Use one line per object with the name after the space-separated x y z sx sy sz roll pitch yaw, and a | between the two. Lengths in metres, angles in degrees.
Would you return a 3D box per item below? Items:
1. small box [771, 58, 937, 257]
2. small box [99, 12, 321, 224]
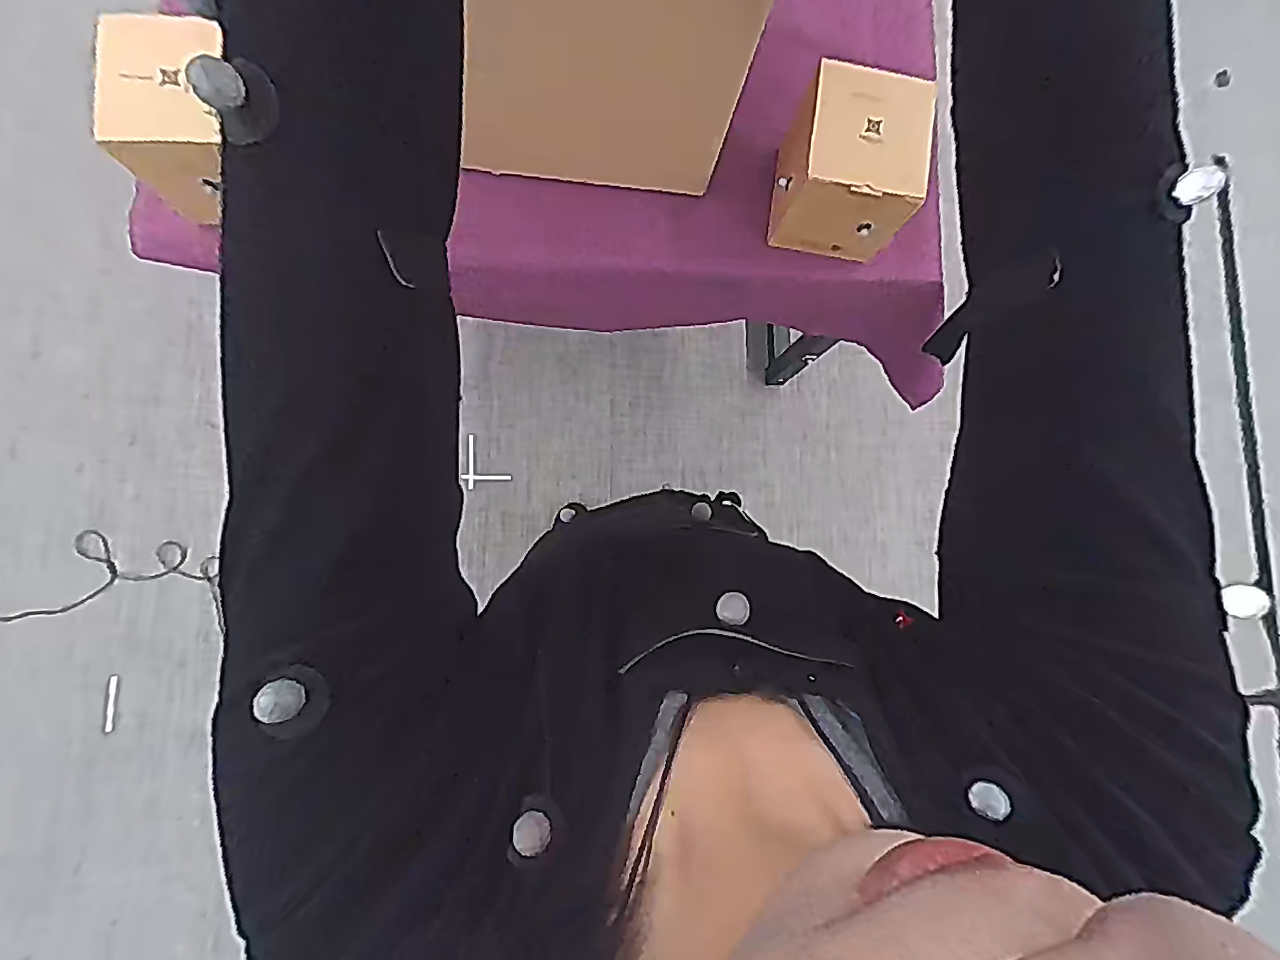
0.302 -0.456 0.793 0.168 0.176 0.179 8 82 -5 | small box
-0.544 -0.460 0.711 0.179 0.176 0.168 -4 83 -7 | small box
